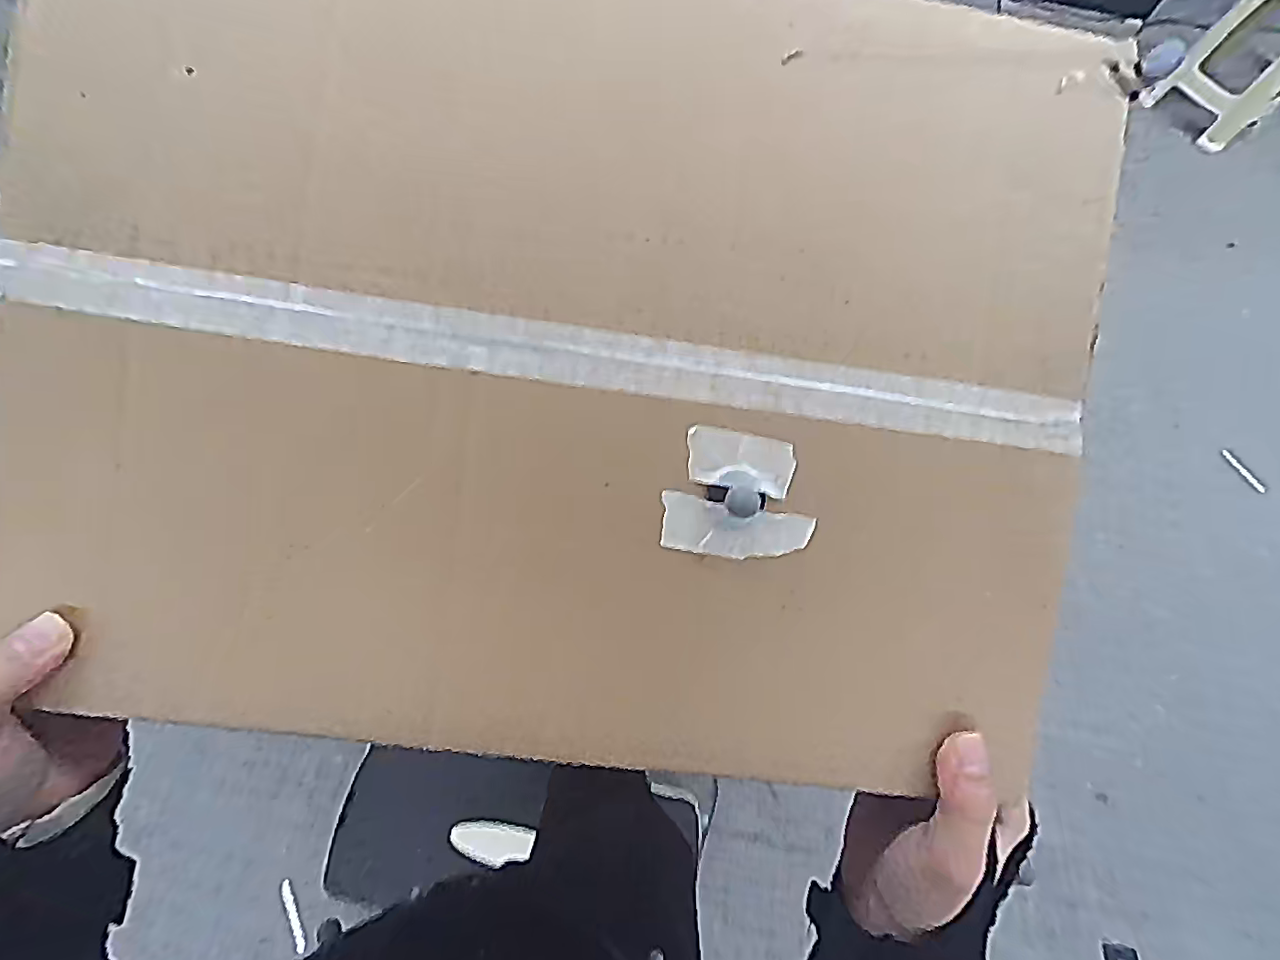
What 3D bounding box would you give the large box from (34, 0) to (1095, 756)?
[{"bbox_3d":[-0.030,-0.055,0.368,0.408,0.320,0.320,8,92,-5],"label":"large box"}]
